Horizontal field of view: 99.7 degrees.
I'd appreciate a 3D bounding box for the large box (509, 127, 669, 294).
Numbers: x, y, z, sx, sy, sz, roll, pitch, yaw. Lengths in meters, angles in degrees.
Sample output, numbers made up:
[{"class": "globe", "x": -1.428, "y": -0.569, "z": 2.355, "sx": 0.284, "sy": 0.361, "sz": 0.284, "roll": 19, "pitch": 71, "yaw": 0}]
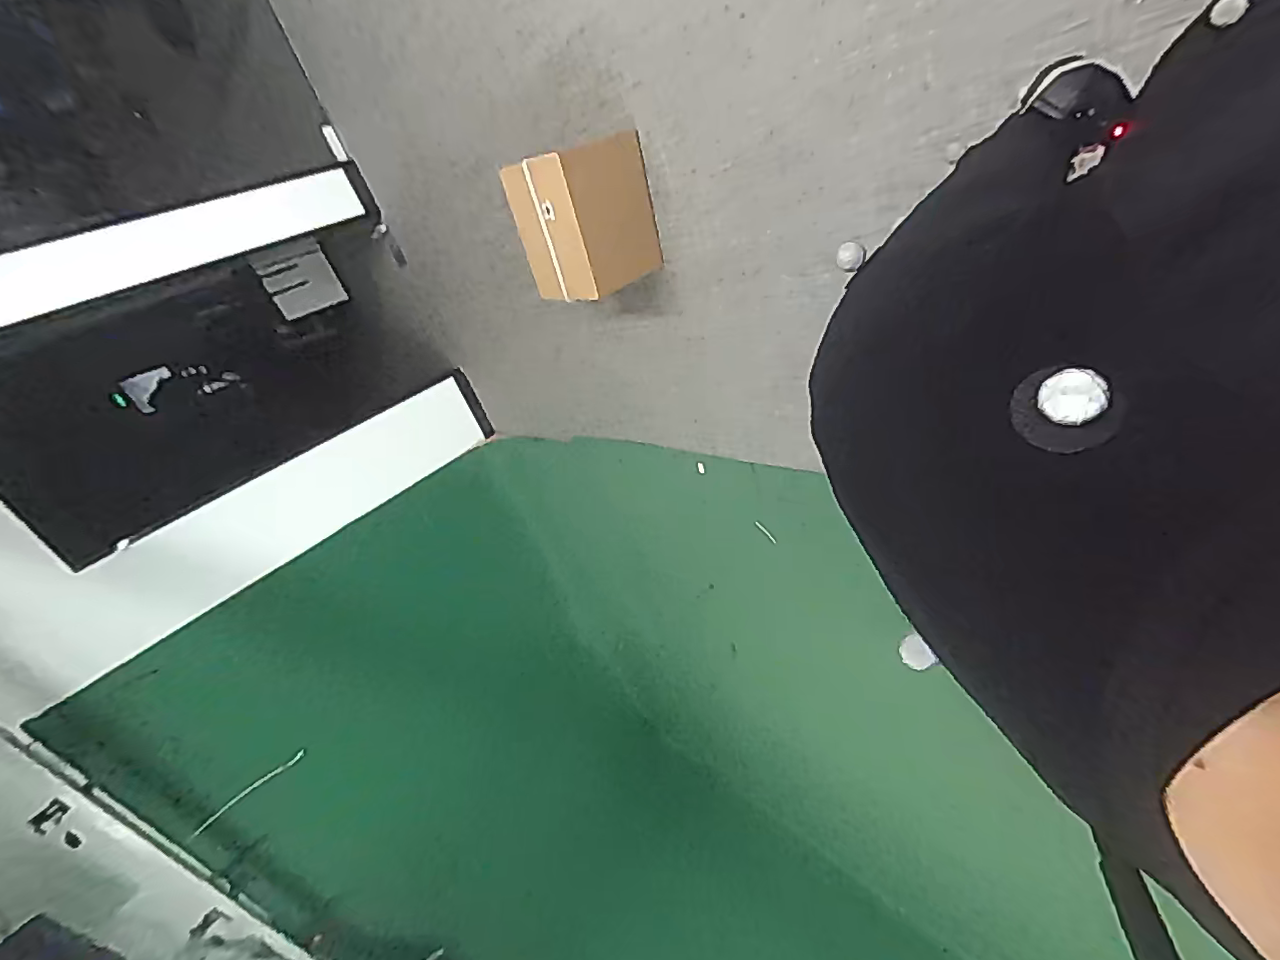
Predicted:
[{"class": "large box", "x": -0.149, "y": -0.840, "z": 1.722, "sx": 0.320, "sy": 0.320, "sz": 0.408, "roll": 19, "pitch": 135, "yaw": 43}]
